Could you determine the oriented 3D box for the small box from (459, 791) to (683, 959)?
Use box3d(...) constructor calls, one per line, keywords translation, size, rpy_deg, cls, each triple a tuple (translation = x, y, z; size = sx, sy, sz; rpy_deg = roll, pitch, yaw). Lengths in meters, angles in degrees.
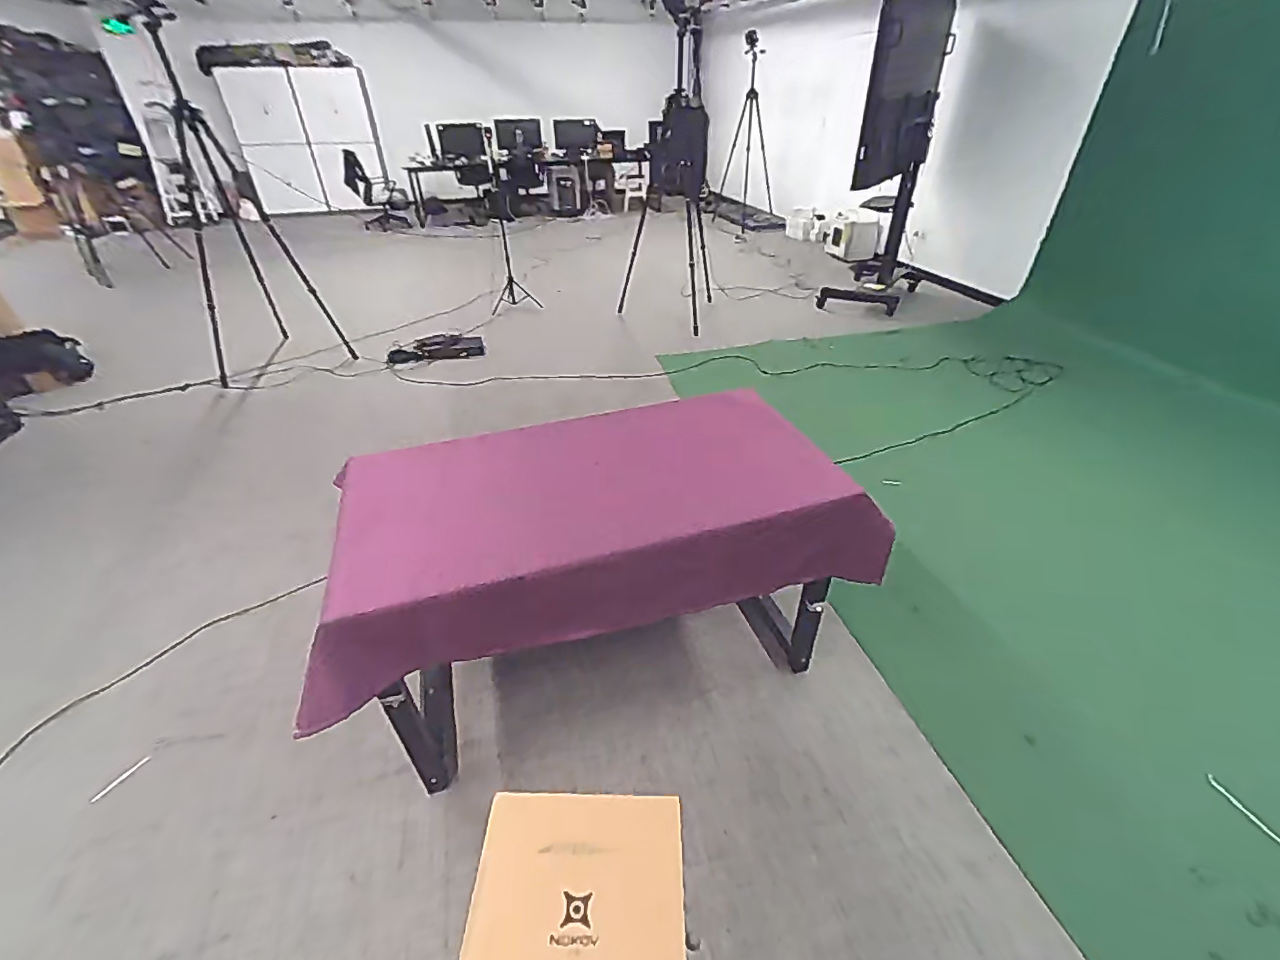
box3d(translation=(-0.050, 0.396, 0.461), size=(0.168, 0.176, 0.179), rpy_deg=(2, 37, 0), cls="small box")
